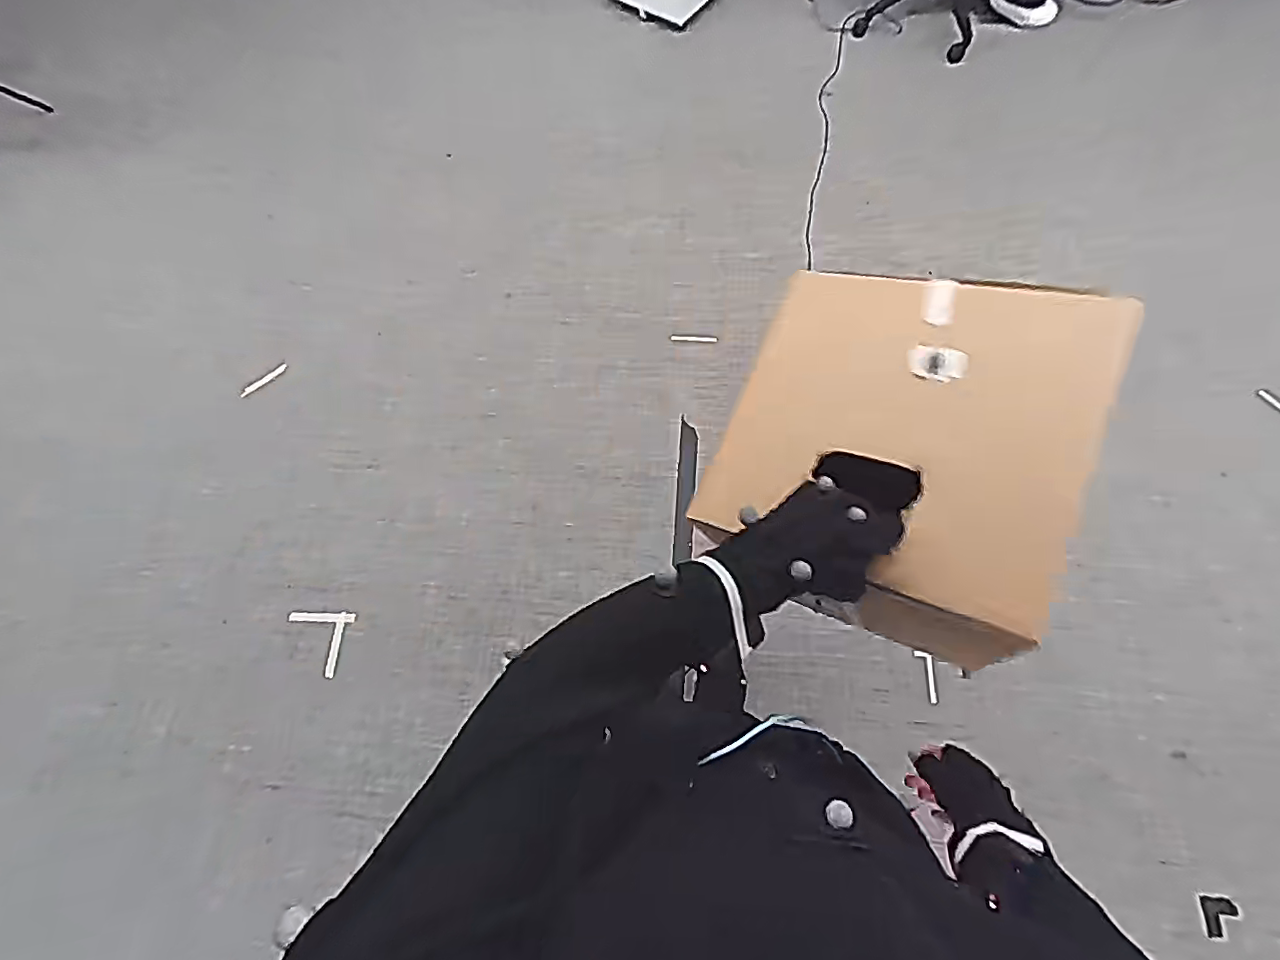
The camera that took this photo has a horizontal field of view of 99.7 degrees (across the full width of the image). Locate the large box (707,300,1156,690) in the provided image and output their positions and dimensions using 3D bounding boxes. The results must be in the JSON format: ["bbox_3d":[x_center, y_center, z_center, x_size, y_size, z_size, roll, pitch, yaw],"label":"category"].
[{"bbox_3d":[0.338,0.036,0.669,0.320,0.408,0.320,22,81,32],"label":"large box"}]
